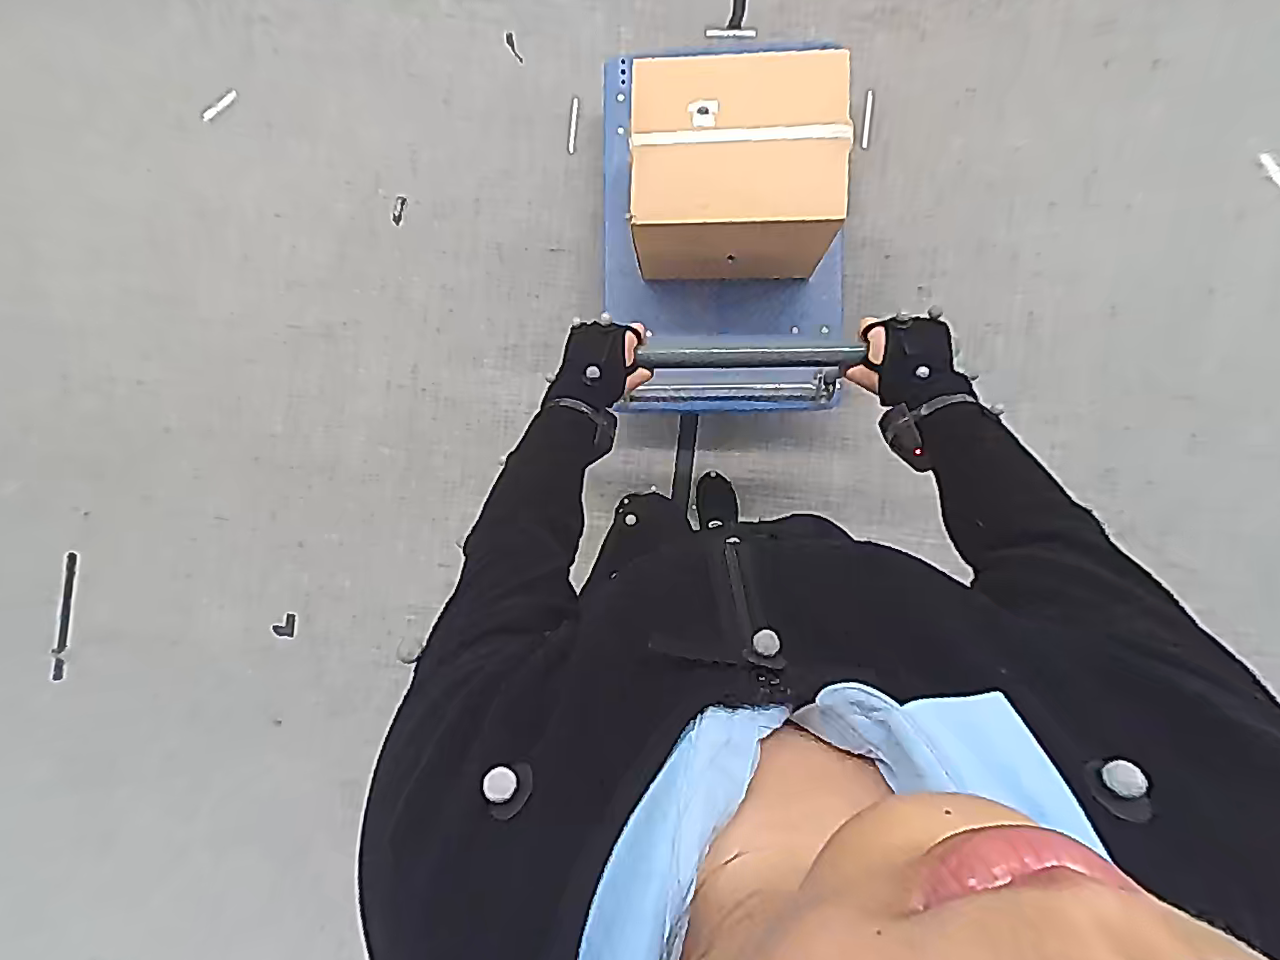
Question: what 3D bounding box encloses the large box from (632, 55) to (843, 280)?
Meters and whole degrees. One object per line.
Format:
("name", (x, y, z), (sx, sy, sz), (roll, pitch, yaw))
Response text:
("large box", (0.200, -0.644, 1.179), (0.408, 0.320, 0.320), (1, 90, 6))
